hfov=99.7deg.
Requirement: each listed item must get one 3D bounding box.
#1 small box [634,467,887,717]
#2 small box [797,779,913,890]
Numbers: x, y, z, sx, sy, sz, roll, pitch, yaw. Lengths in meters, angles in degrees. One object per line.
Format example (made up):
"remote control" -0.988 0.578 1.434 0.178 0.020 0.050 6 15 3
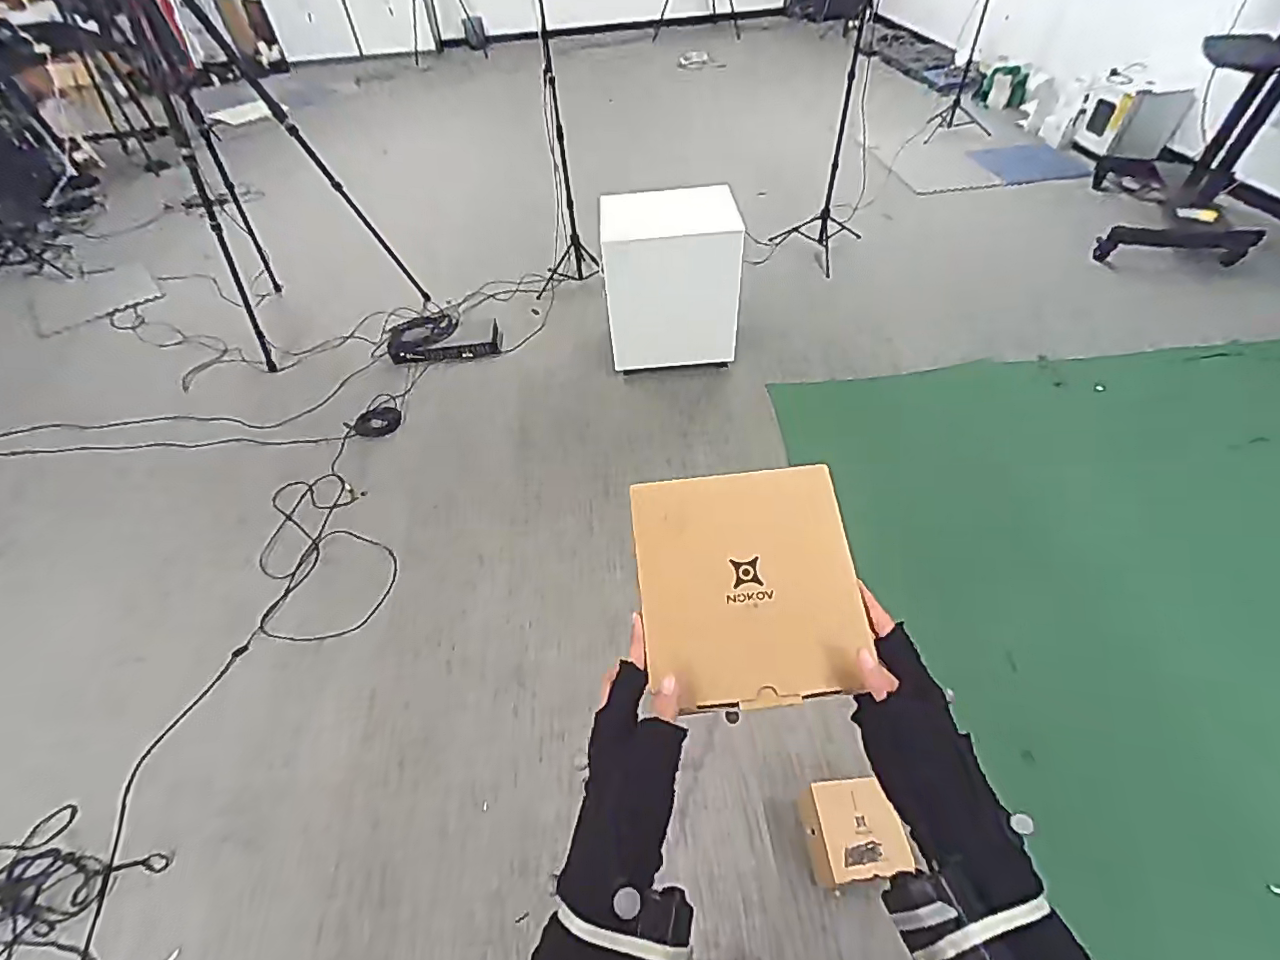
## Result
"small box" 0.084 0.107 0.479 0.168 0.176 0.179 -7 67 -1
"small box" 0.448 0.763 1.157 0.168 0.176 0.179 -5 48 -1
